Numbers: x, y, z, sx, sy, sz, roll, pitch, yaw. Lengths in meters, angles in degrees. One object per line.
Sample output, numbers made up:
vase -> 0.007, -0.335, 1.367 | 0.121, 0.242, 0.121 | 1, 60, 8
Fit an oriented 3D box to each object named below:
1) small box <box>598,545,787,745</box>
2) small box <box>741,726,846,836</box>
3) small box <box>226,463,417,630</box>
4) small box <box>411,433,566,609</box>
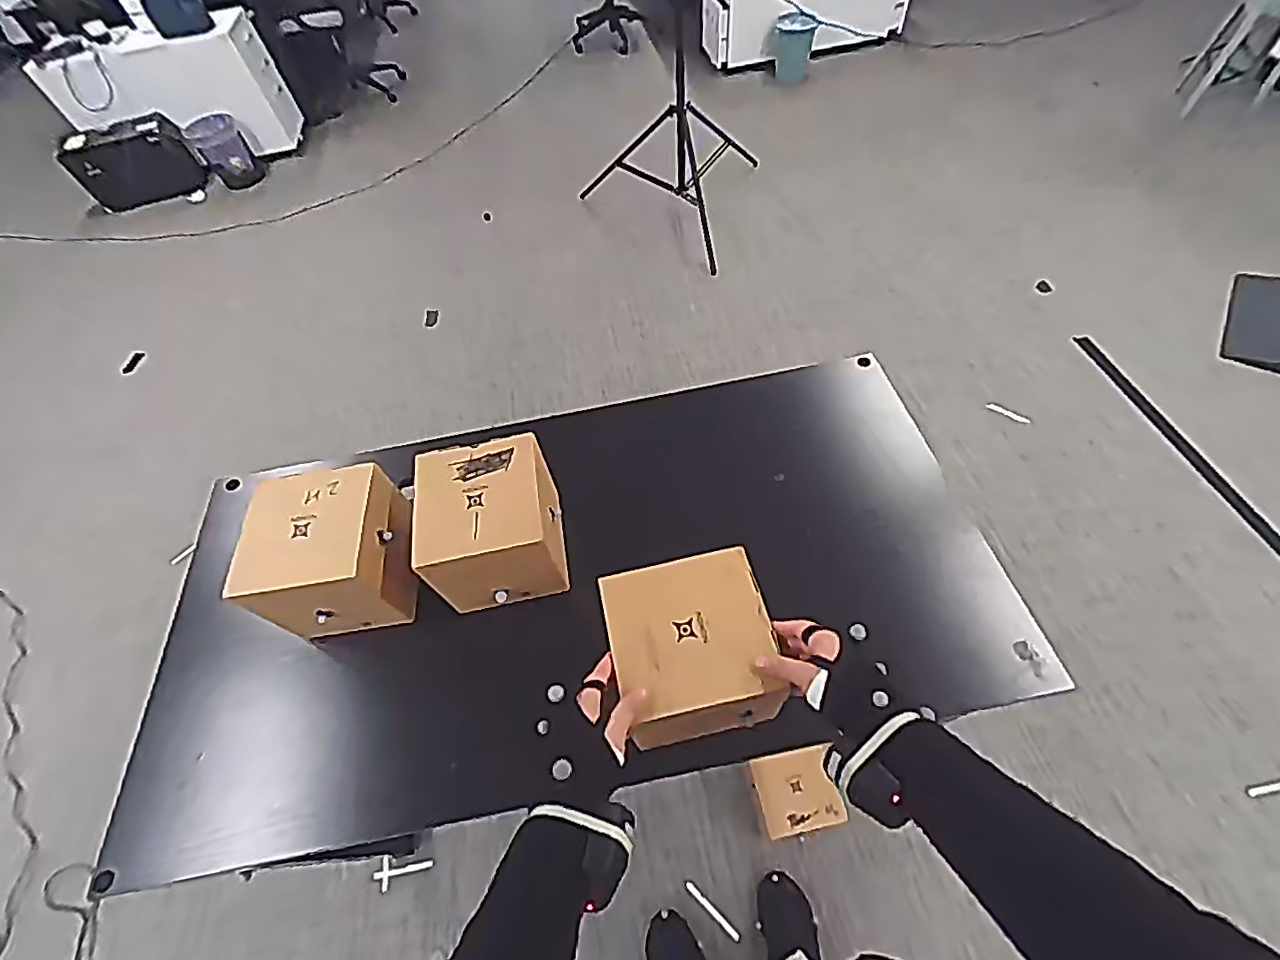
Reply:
small box -> 0.058, 0.204, 0.653 | 0.179, 0.176, 0.168 | -14, 55, -2
small box -> 0.326, 0.667, 1.193 | 0.168, 0.176, 0.179 | -13, 56, -1
small box -> -0.429, 0.103, 0.770 | 0.168, 0.176, 0.179 | -9, 56, -1
small box -> -0.208, 0.062, 0.773 | 0.168, 0.176, 0.179 | -12, 57, -2
